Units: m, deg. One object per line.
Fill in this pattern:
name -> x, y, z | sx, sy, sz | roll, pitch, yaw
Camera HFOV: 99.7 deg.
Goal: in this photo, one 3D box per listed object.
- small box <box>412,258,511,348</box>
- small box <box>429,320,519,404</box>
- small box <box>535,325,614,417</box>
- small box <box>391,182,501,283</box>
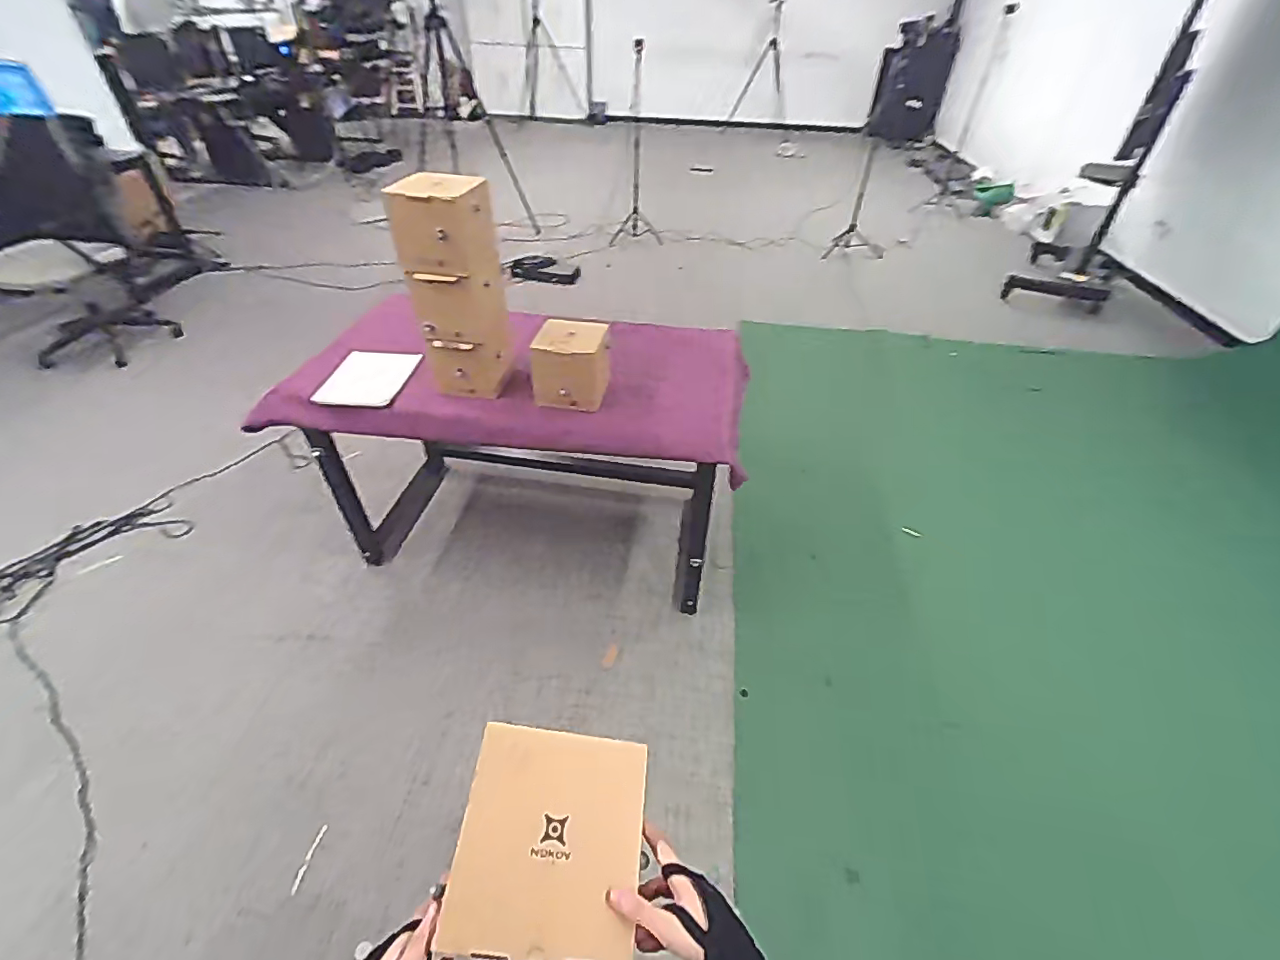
small box -> -0.433, -0.444, 1.345 | 0.168, 0.176, 0.179 | 8, 40, 6
small box -> -0.436, -0.324, 1.458 | 0.168, 0.176, 0.179 | 8, 42, 6
small box -> -0.166, -0.287, 1.423 | 0.168, 0.176, 0.179 | 7, 41, 7
small box -> -0.428, -0.564, 1.234 | 0.168, 0.176, 0.179 | 9, 41, 7
